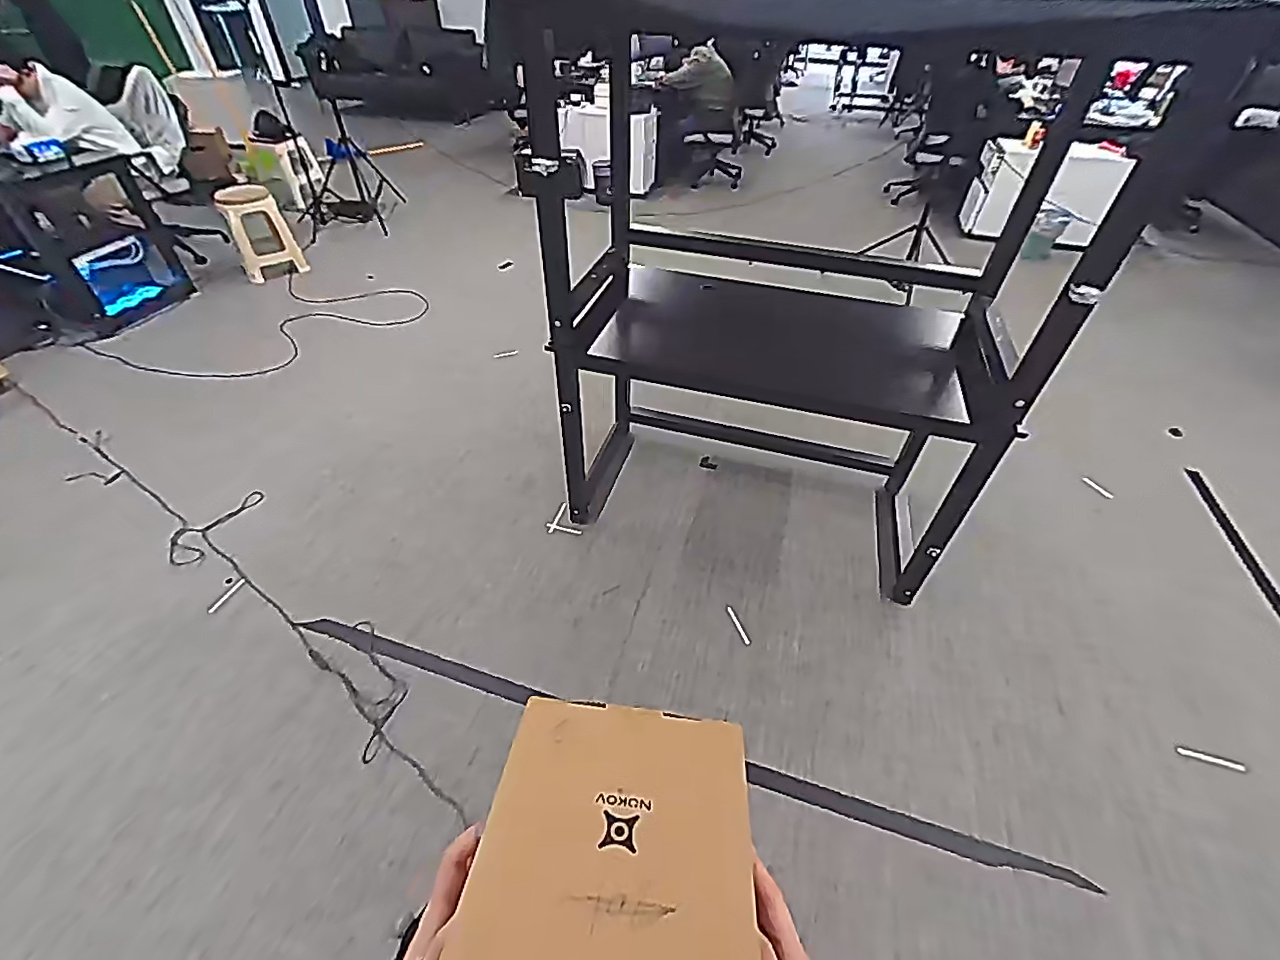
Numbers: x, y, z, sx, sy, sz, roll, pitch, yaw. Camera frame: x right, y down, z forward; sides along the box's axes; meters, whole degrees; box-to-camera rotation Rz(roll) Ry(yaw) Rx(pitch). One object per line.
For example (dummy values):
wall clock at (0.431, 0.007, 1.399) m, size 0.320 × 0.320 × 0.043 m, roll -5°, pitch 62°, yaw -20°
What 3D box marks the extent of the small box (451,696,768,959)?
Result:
small box at (-0.014, 0.286, 0.375) m, size 0.168 × 0.176 × 0.179 m, roll 6°, pitch 29°, yaw 3°
